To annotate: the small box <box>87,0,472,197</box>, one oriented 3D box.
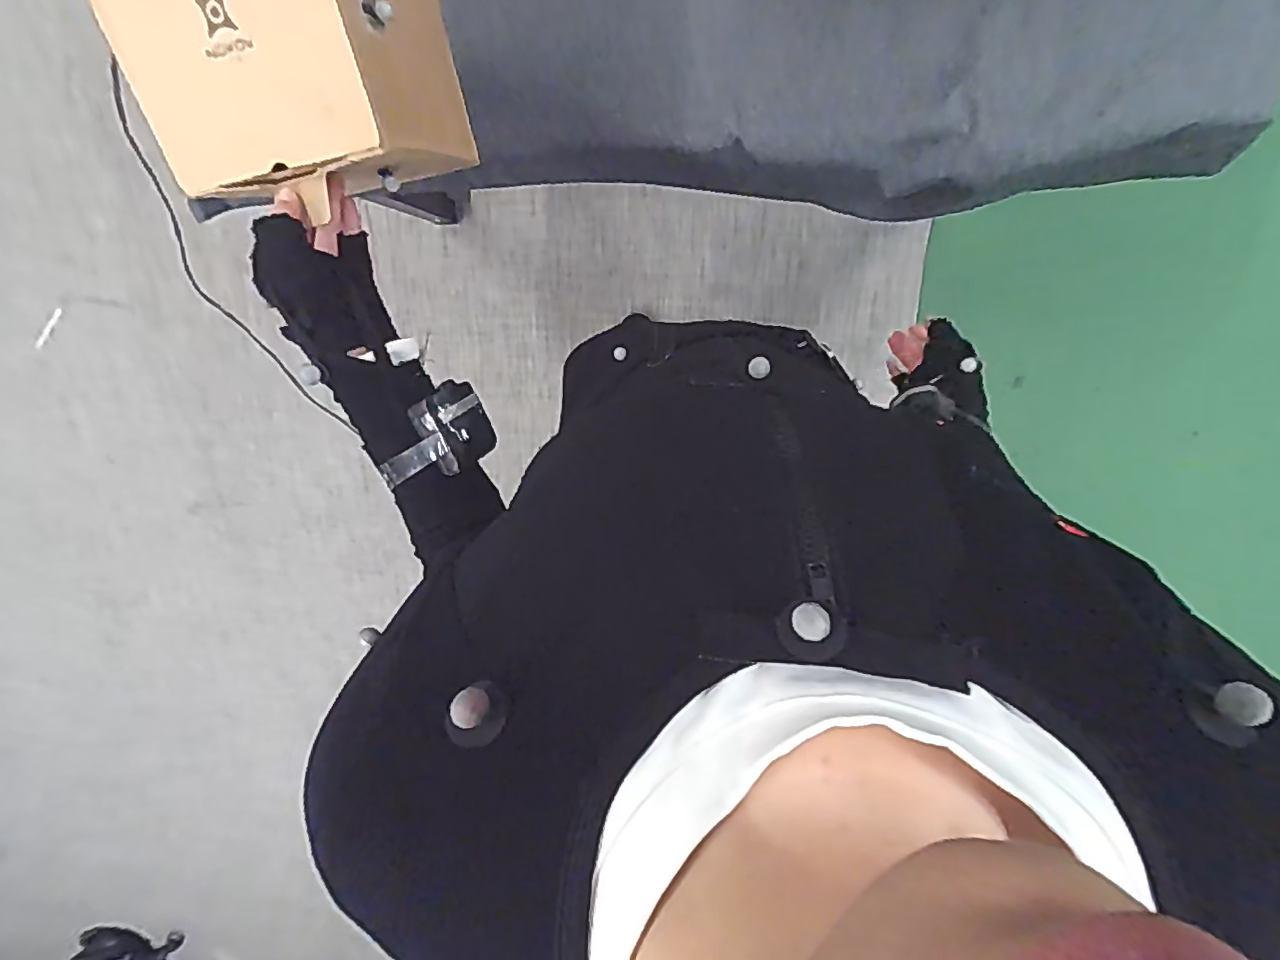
[{"bbox_3d":[-0.250,-0.323,0.404,0.168,0.176,0.179,-7,115,11],"label":"small box"}]
